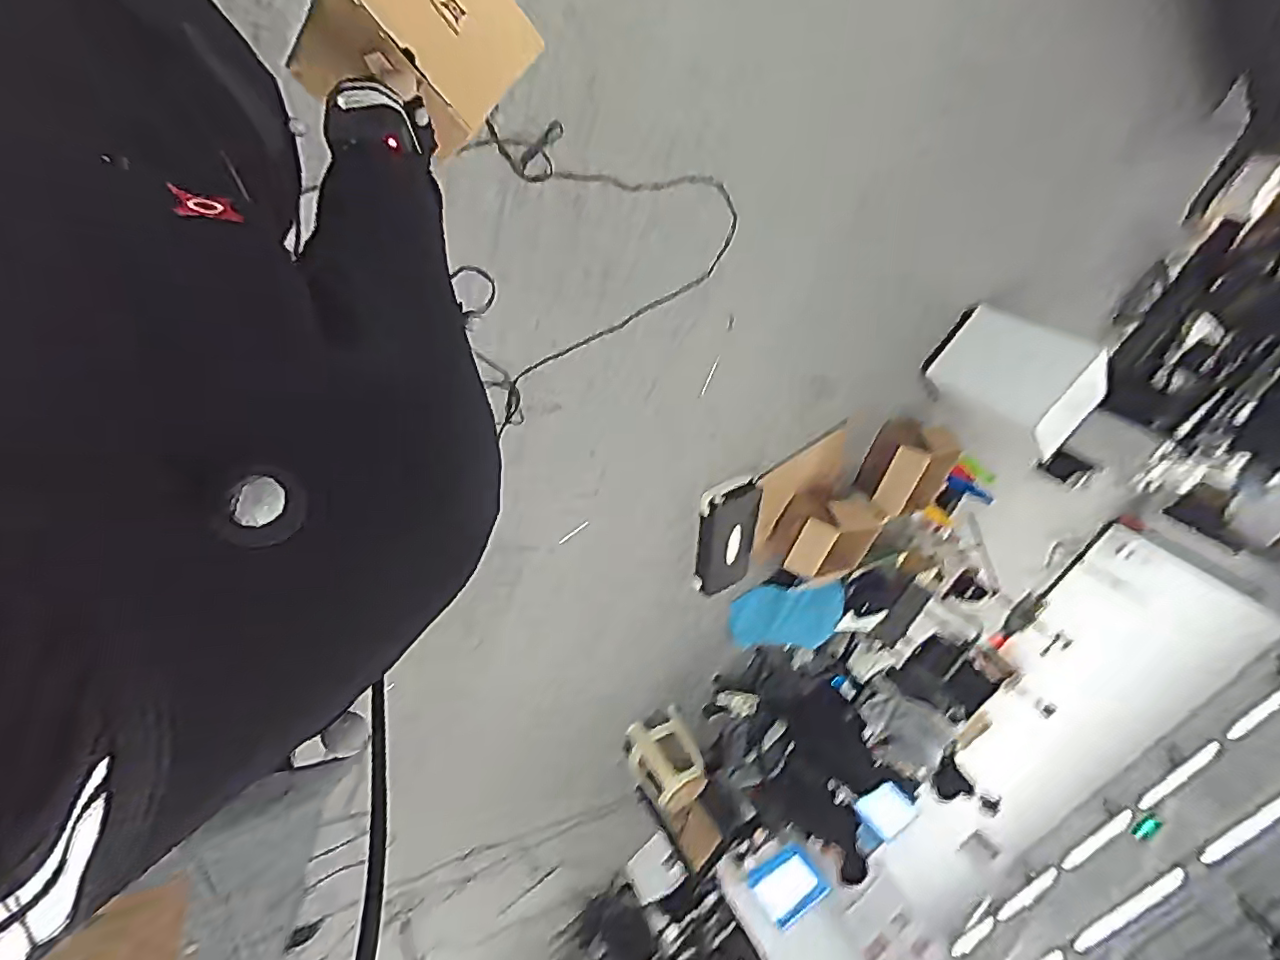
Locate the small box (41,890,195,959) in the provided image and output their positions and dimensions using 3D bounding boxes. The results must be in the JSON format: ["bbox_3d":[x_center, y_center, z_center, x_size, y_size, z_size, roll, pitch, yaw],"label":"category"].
[{"bbox_3d":[-0.765,0.747,0.791,0.168,0.176,0.179,6,121,-41],"label":"small box"}]

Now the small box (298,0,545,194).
[{"bbox_3d":[-0.247,-0.471,0.611,0.168,0.176,0.179,41,62,-37],"label":"small box"}]
